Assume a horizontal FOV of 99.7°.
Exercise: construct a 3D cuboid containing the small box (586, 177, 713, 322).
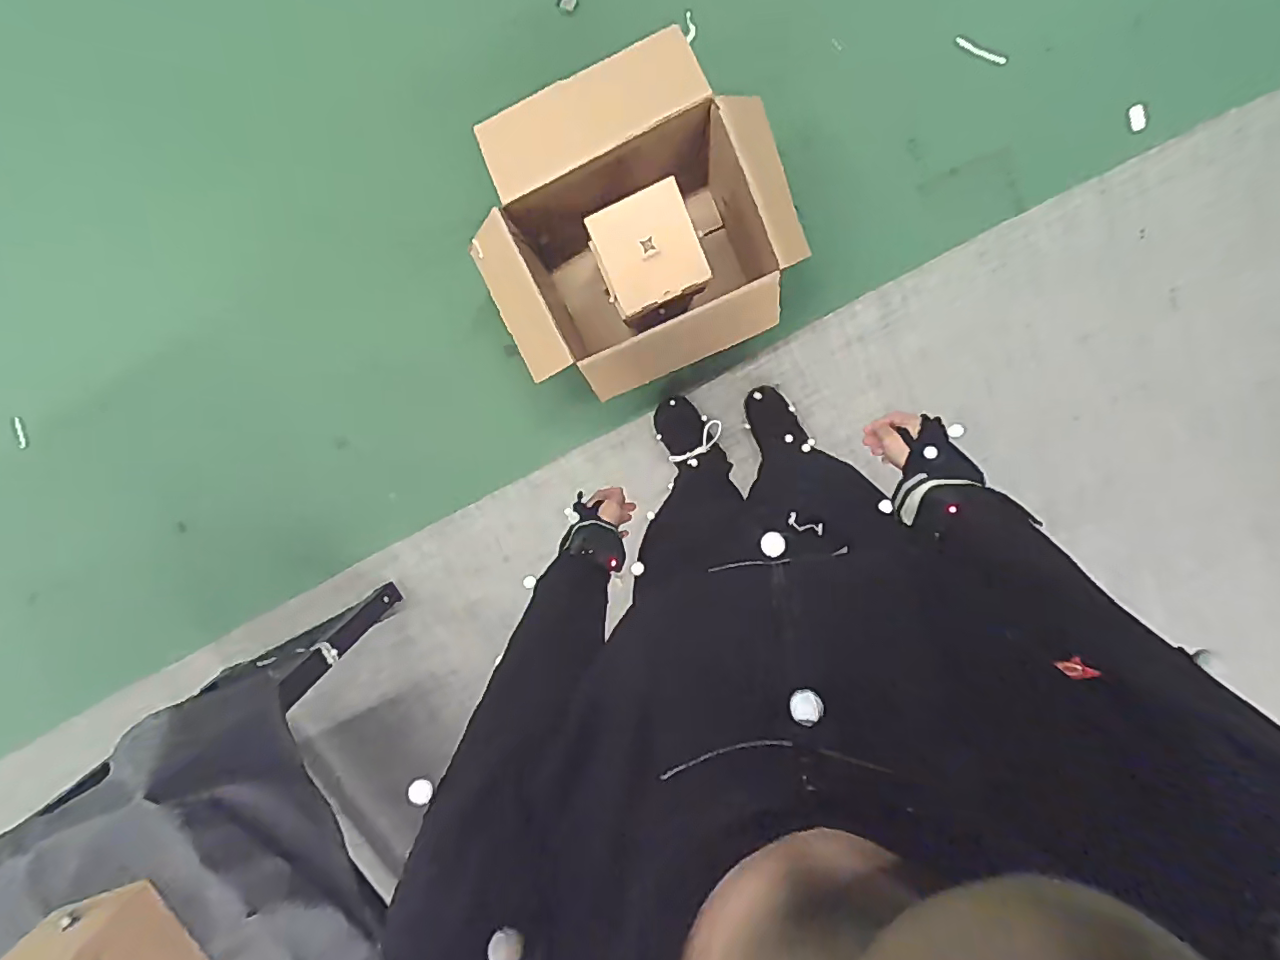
[{"bbox_3d":[0.016,-0.404,0.982,0.168,0.176,0.179,-24,101,5],"label":"small box"}]
